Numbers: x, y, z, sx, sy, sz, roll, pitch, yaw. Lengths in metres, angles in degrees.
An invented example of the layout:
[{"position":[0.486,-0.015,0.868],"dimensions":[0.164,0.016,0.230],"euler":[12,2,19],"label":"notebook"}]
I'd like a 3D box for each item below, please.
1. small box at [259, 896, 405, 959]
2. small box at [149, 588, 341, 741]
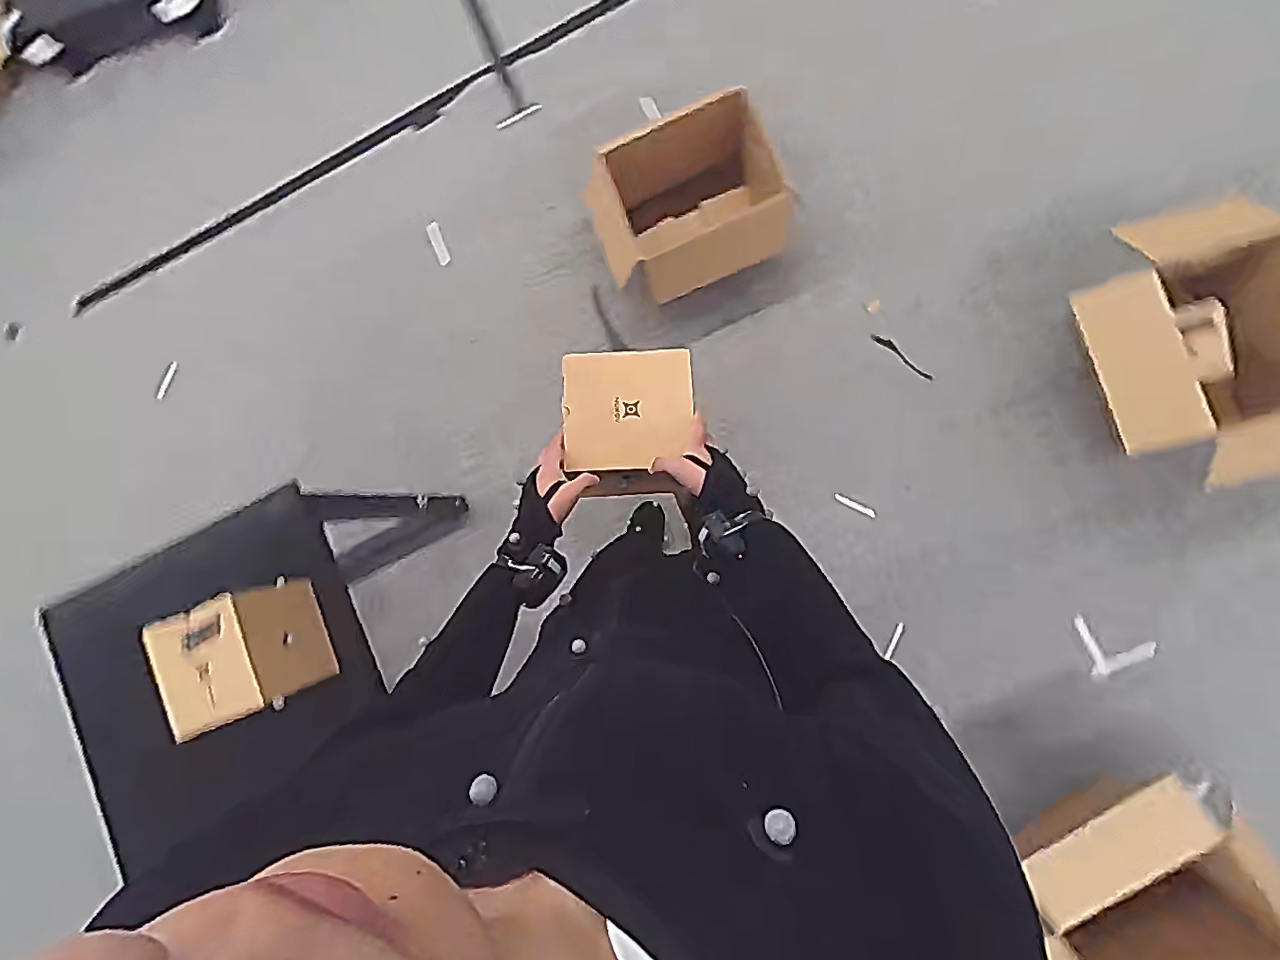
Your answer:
[{"position":[-0.505,0.815,0.859],"dimensions":[0.179,0.176,0.168],"euler":[-20,85,6],"label":"small box"},{"position":[-0.645,0.292,0.901],"dimensions":[0.168,0.176,0.179],"euler":[-23,86,7],"label":"small box"}]
